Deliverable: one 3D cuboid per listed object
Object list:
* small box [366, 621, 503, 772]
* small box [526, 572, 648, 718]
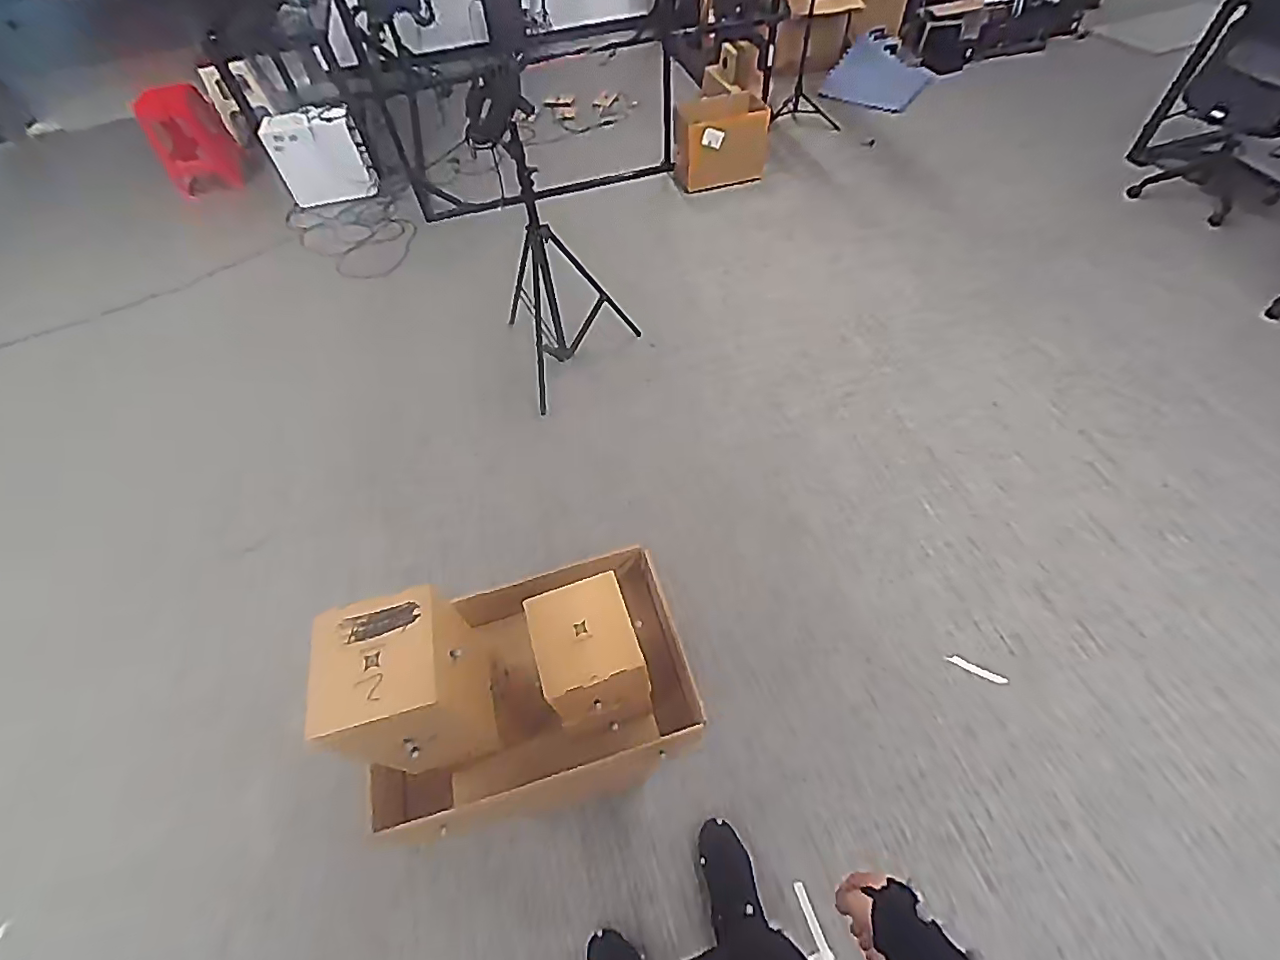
[{"bbox_3d":[-0.344,0.372,0.923,0.168,0.176,0.179,-16,54,-5],"label":"small box"},{"bbox_3d":[-0.090,0.294,0.956,0.168,0.176,0.179,-18,56,-8],"label":"small box"}]
